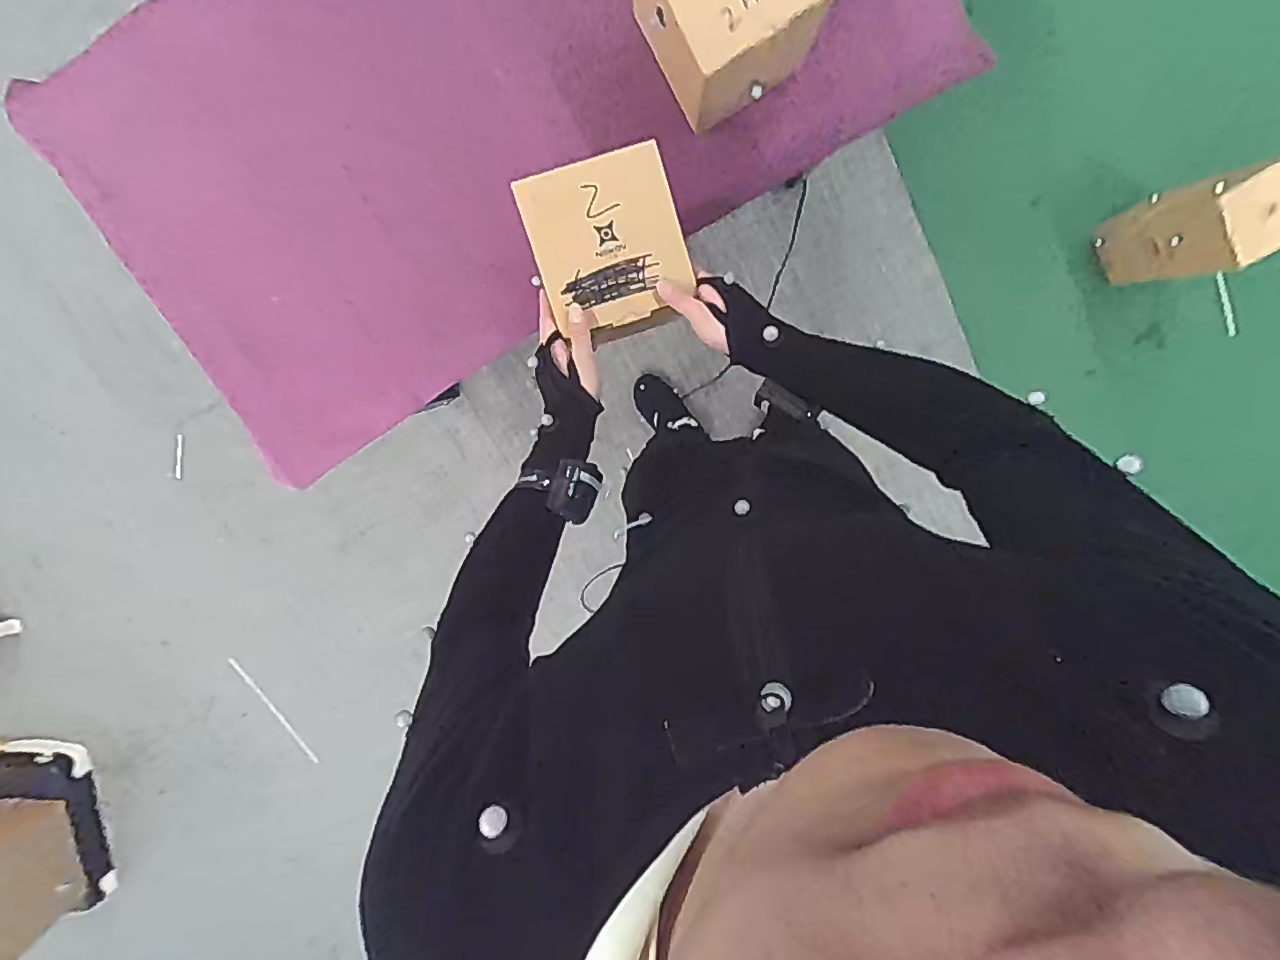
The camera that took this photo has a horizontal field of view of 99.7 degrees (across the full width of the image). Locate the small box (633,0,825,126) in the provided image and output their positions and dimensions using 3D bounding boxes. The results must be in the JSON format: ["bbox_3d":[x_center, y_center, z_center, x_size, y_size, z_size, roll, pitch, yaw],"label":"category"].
[{"bbox_3d":[0.096,-0.583,0.655,0.168,0.176,0.179,-29,101,8],"label":"small box"}]

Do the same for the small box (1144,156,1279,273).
[{"bbox_3d":[1.314,-0.591,1.219,0.179,0.176,0.168,-31,102,9],"label":"small box"}]

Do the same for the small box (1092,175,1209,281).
[{"bbox_3d":[1.307,-0.629,1.377,0.179,0.176,0.168,-31,102,7],"label":"small box"}]
